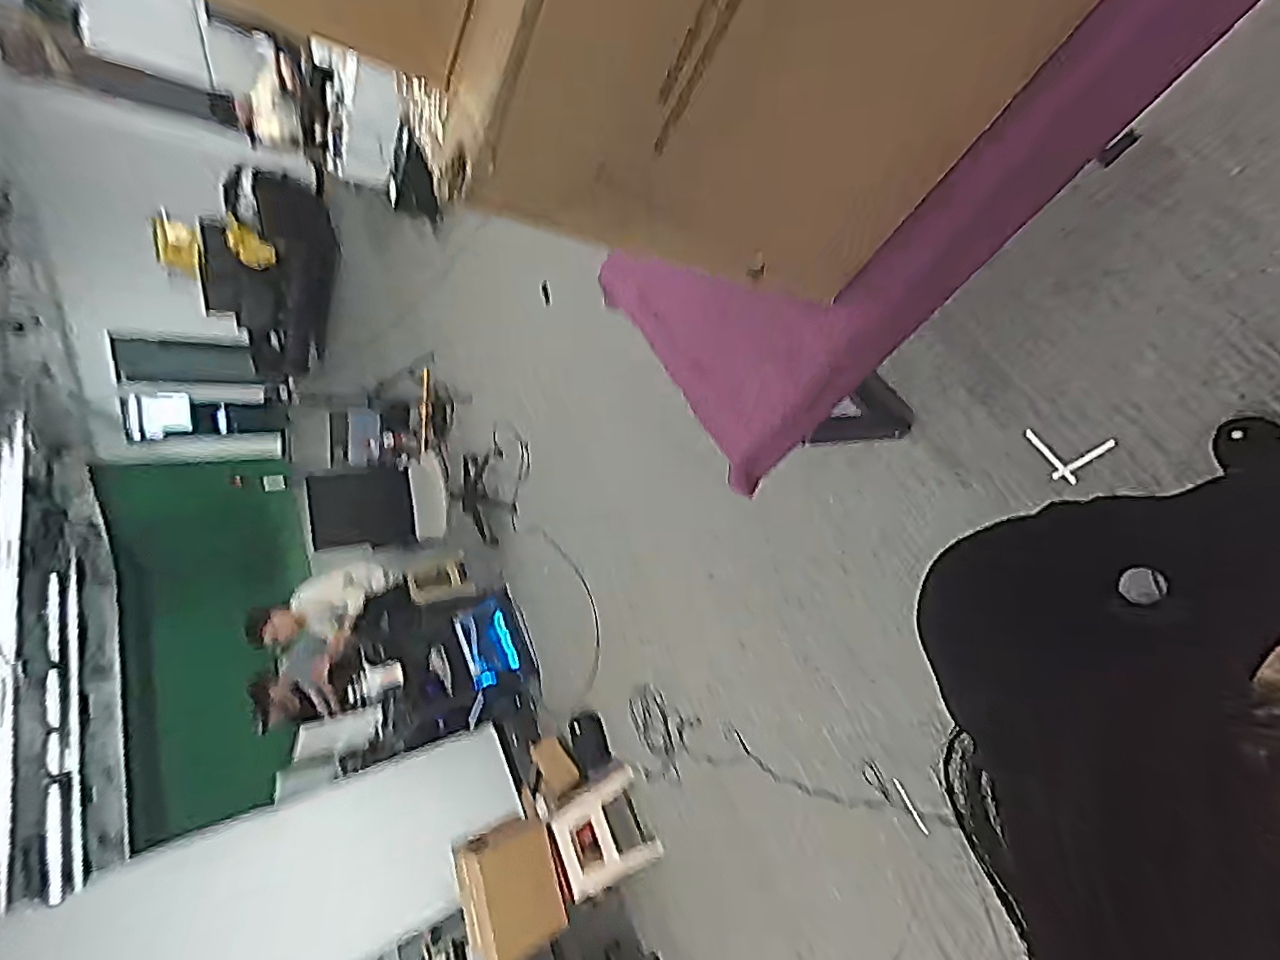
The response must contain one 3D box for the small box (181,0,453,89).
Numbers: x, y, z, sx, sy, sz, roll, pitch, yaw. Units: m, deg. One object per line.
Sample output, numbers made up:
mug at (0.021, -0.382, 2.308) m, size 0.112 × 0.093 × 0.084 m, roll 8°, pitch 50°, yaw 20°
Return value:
small box at (-0.222, -0.426, 0.371) m, size 0.179 × 0.176 × 0.168 m, roll -49°, pitch 58°, yaw 41°
